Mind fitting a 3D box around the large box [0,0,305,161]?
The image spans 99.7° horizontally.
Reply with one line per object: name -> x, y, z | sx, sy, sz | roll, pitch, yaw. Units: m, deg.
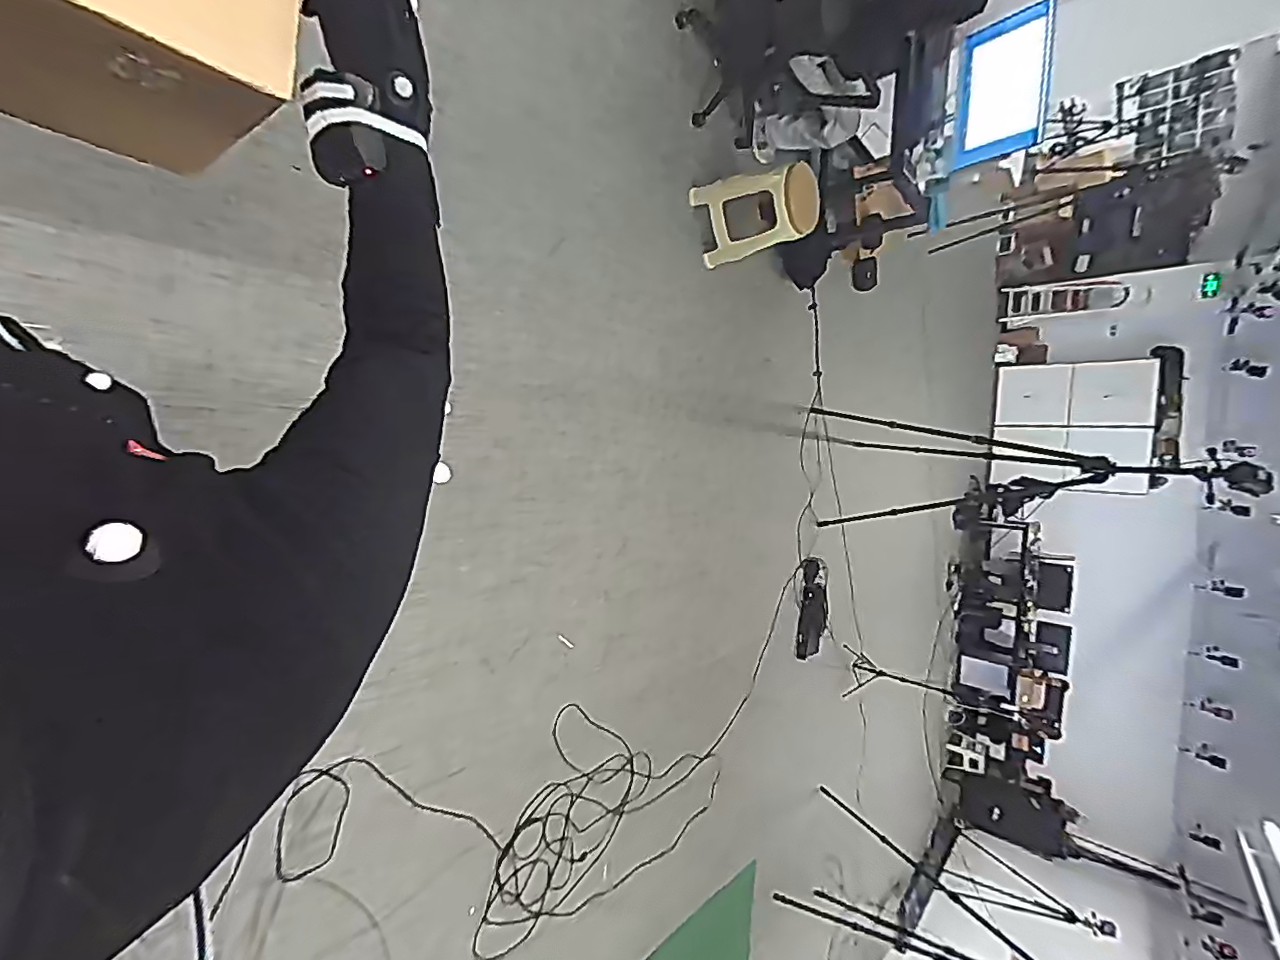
large box -> -0.464, -0.452, 0.308 | 0.408, 0.320, 0.320 | -1, 102, -51
